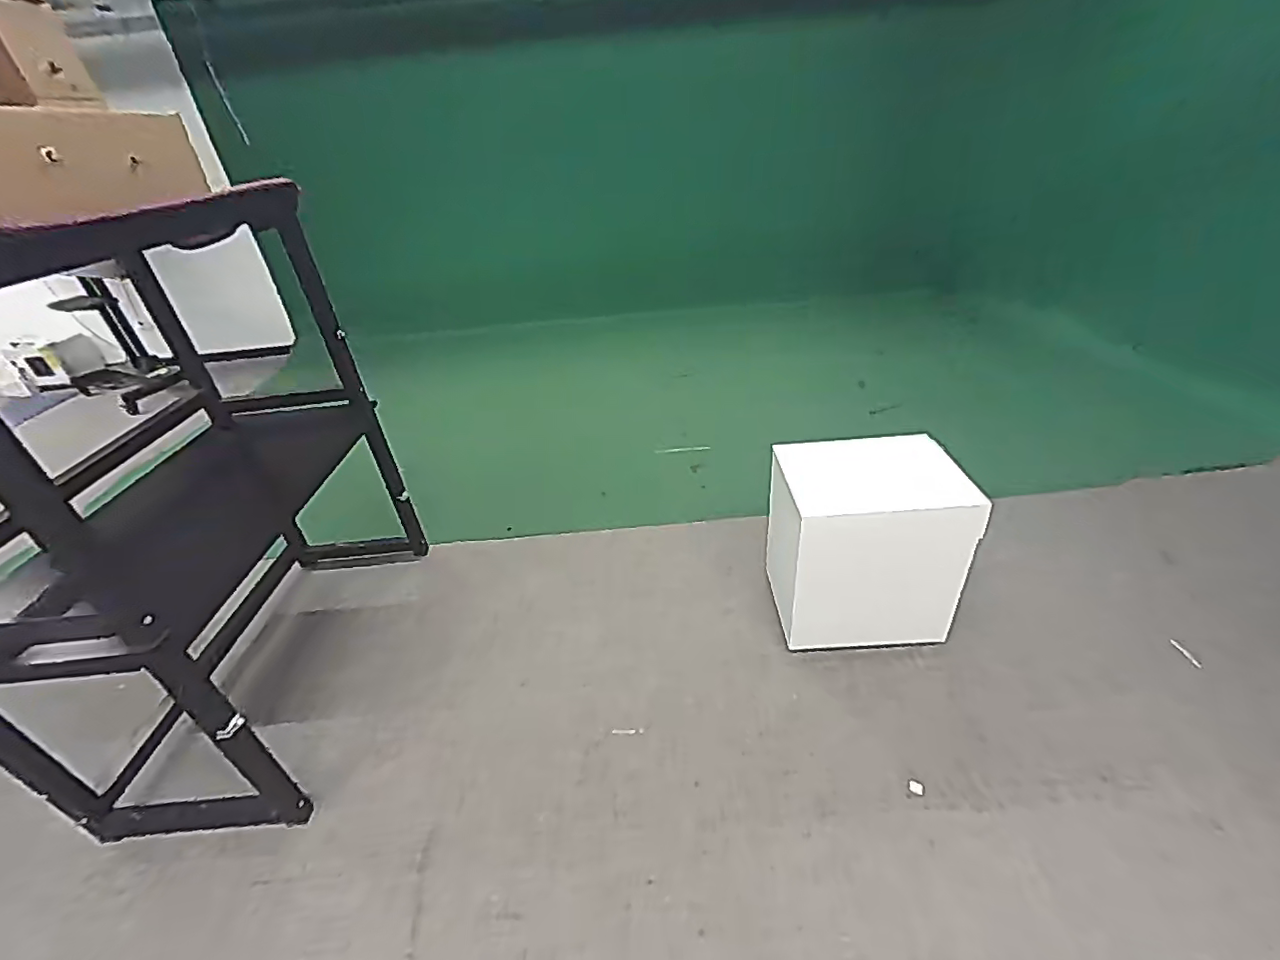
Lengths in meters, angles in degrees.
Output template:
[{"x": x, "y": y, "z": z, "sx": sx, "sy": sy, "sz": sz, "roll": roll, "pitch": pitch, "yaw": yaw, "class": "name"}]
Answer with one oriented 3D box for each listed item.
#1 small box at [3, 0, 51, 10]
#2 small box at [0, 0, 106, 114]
[{"x": -1.310, "y": -0.994, "z": 1.018, "sx": 0.179, "sy": 0.176, "sz": 0.168, "roll": -4, "pitch": 34, "yaw": 4, "class": "small box"}, {"x": -1.298, "y": -0.868, "z": 1.121, "sx": 0.179, "sy": 0.176, "sz": 0.168, "roll": -5, "pitch": 35, "yaw": 3, "class": "small box"}]
